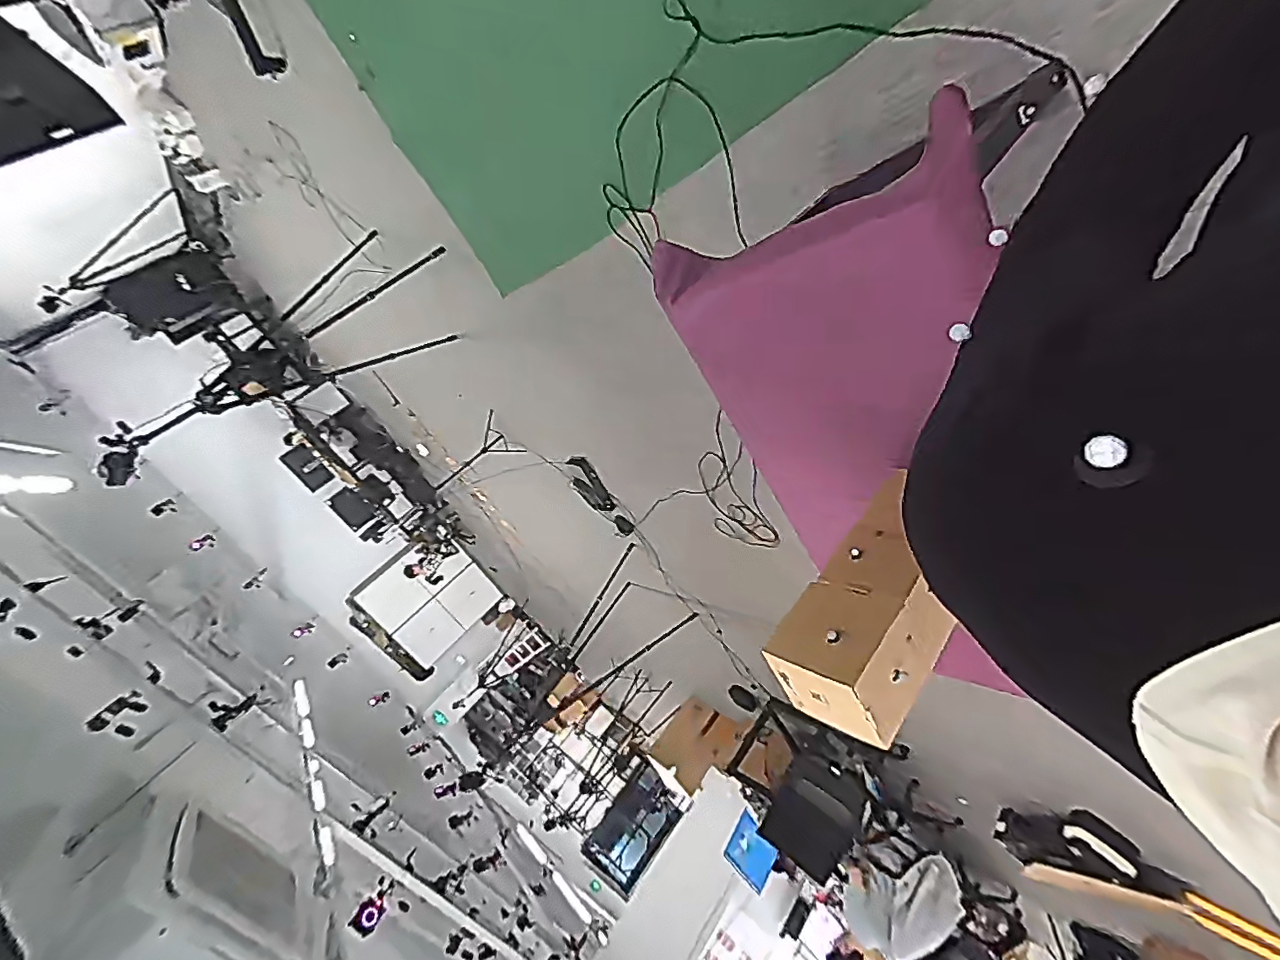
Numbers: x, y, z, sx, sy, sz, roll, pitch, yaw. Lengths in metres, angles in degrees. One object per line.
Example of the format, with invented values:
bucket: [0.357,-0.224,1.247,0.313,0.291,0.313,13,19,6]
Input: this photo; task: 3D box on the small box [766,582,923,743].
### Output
small box: [0.352,0.295,0.912,0.179,0.176,0.168,5,132,53]

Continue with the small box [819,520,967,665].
small box: [0.461,0.193,0.977,0.168,0.176,0.179,6,134,53]
